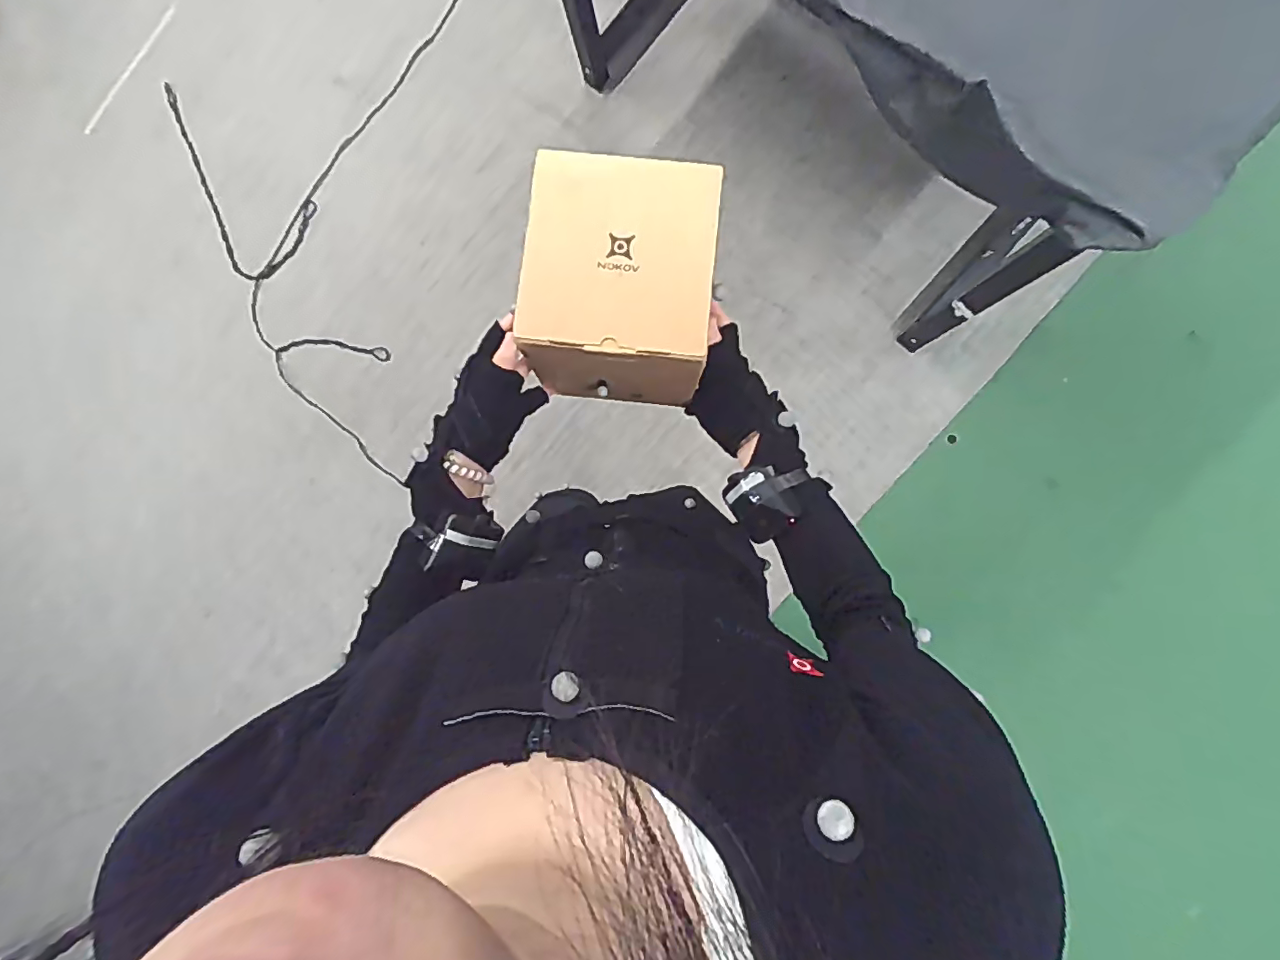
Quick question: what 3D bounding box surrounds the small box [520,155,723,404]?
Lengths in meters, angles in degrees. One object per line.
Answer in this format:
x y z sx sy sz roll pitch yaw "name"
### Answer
-0.016 -0.190 0.557 0.168 0.176 0.179 6 85 0 "small box"
